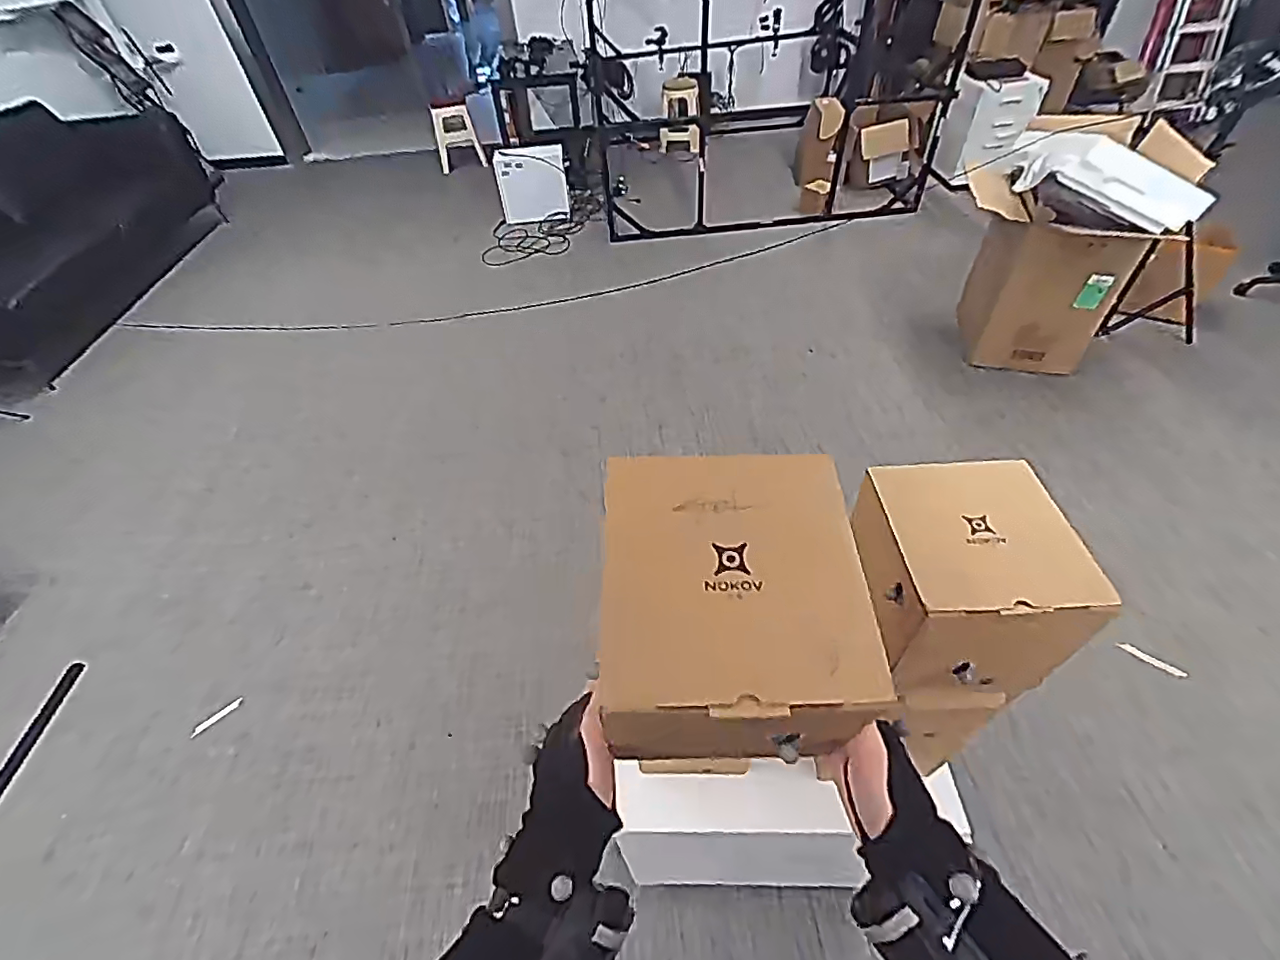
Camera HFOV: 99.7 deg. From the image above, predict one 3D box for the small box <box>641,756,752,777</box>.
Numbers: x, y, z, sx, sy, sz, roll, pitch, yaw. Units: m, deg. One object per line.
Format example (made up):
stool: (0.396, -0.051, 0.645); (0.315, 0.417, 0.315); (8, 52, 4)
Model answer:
small box: (0.081, 0.328, 0.822); (0.168, 0.176, 0.179); (-1, 46, 3)

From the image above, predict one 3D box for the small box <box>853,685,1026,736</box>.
small box: (0.332, 0.212, 0.685); (0.168, 0.176, 0.179); (-3, 46, 2)

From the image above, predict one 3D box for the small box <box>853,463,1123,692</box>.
small box: (0.323, 0.102, 0.565); (0.168, 0.176, 0.179); (-3, 47, 2)

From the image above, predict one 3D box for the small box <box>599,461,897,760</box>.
small box: (0.061, 0.105, 0.406); (0.168, 0.176, 0.179); (-1, 55, 0)
